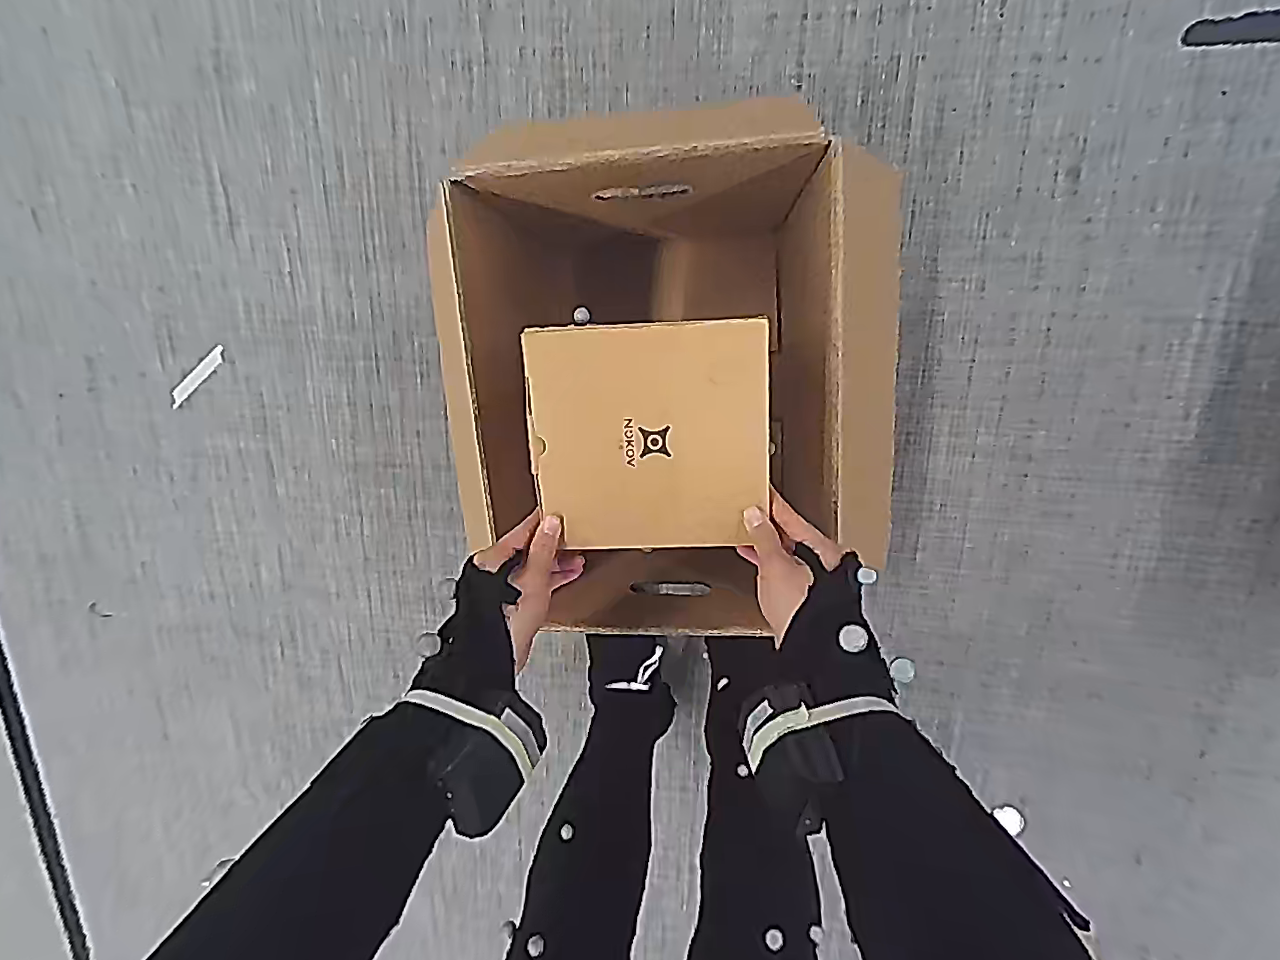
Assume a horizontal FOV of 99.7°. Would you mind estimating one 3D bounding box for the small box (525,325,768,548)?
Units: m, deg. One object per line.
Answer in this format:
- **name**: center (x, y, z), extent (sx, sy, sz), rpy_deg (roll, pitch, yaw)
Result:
- **small box**: center (0.013, -0.047, 0.479), extent (0.179, 0.176, 0.168), rpy_deg (-2, 103, 6)
